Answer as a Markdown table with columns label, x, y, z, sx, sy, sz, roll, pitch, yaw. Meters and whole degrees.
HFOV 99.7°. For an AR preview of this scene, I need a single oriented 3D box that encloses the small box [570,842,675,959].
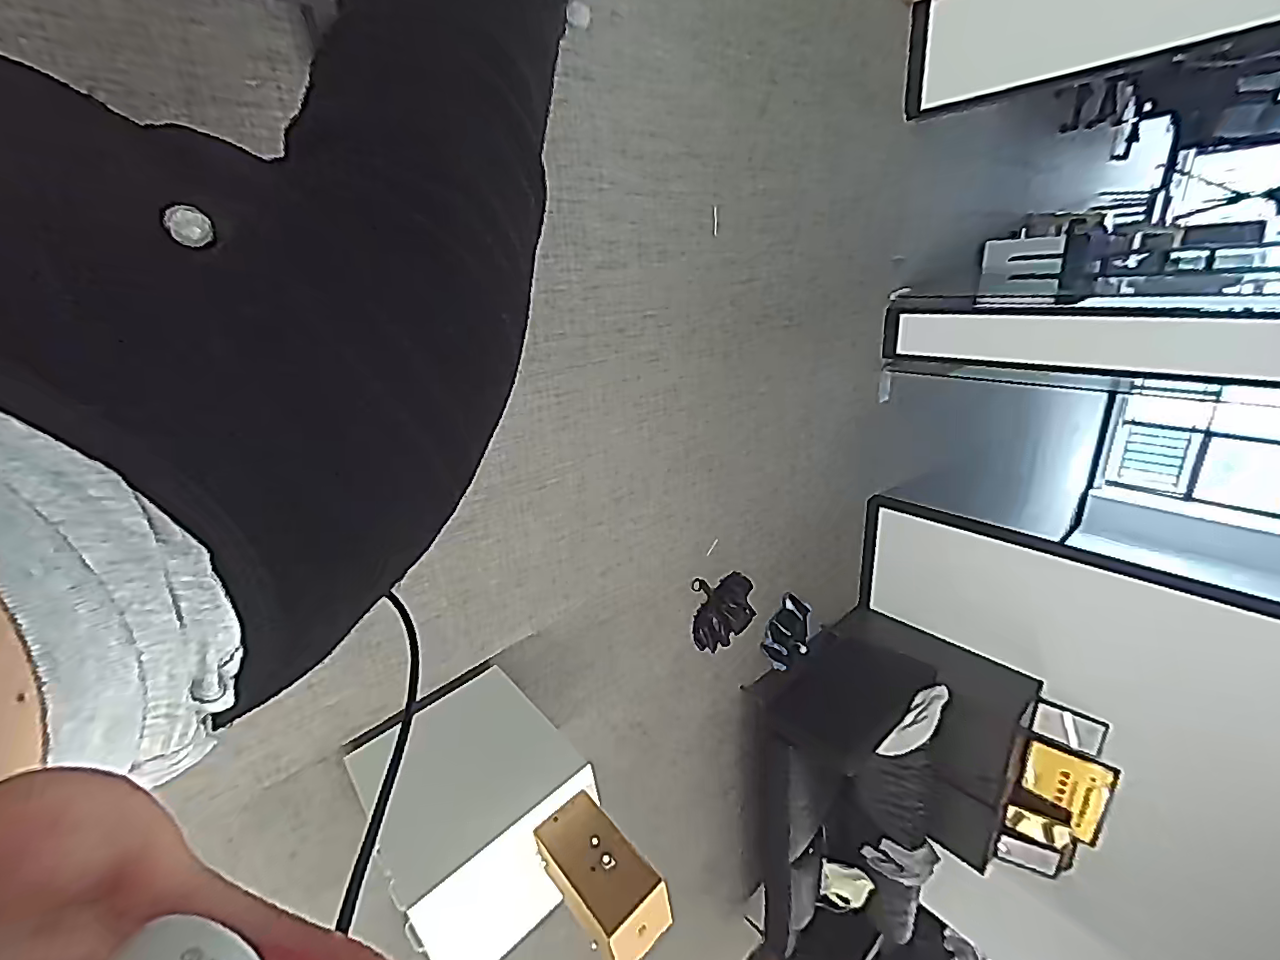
| label | x | y | z | sx | sy | sz | roll | pitch | yaw |
| --- | --- | --- | --- | --- | --- | --- | --- | --- | --- |
| small box | -0.042 | 1.011 | 1.275 | 0.168 | 0.176 | 0.179 | -27 | 120 | -34 |

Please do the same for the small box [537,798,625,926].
| label | x | y | z | sx | sy | sz | roll | pitch | yaw |
| --- | --- | --- | --- | --- | --- | --- | --- | --- | --- |
| small box | -0.145 | 0.977 | 1.397 | 0.168 | 0.176 | 0.179 | -25 | 120 | -33 |
